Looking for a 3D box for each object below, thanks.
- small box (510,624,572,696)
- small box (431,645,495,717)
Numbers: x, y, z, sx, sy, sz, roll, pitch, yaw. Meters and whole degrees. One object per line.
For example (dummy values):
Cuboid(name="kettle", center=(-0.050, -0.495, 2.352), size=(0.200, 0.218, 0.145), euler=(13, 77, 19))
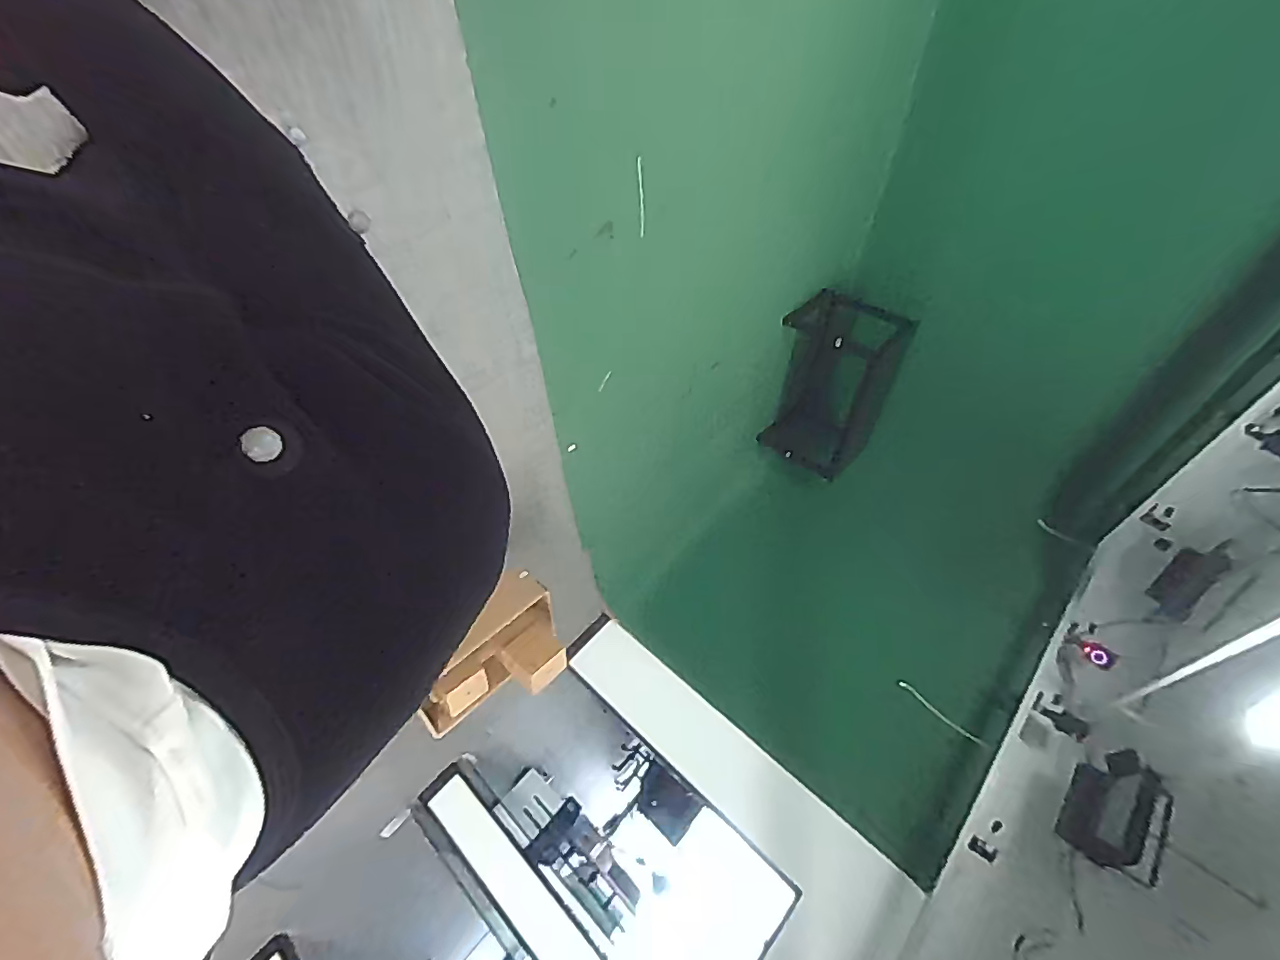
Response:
Cuboid(name="small box", center=(-0.391, 0.711, 2.148), size=(0.179, 0.176, 0.168), euler=(-34, 145, -31))
Cuboid(name="small box", center=(-0.690, 0.771, 2.103), size=(0.168, 0.176, 0.179), euler=(-31, 143, -34))
